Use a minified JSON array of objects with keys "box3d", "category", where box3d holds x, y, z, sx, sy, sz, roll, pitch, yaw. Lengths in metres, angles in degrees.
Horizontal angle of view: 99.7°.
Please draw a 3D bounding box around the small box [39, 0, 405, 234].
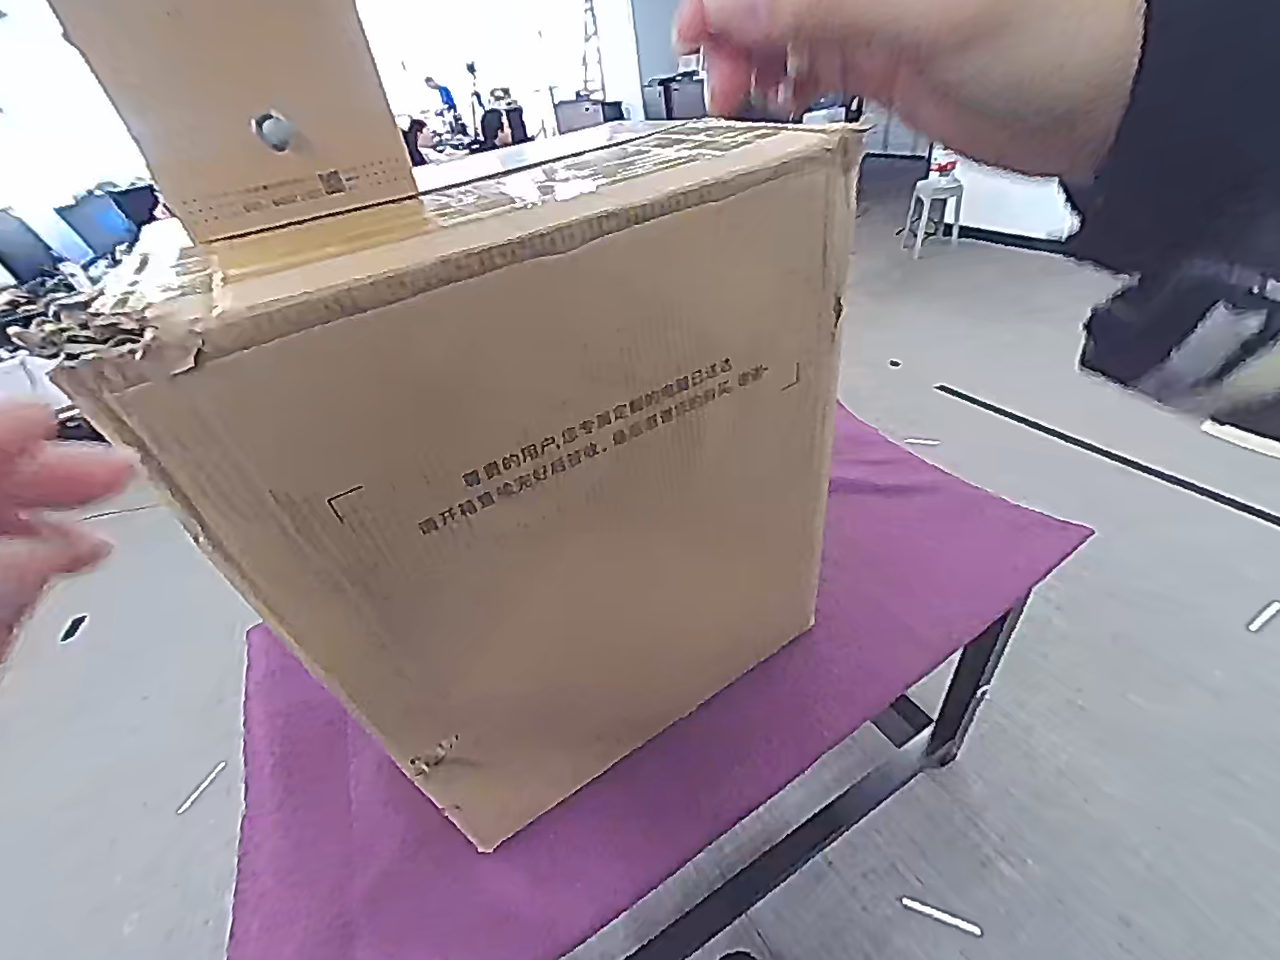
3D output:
[{"box3d":[-0.307,-0.302,0.416,0.168,0.176,0.179,-26,41,-20],"category":"small box"}]
